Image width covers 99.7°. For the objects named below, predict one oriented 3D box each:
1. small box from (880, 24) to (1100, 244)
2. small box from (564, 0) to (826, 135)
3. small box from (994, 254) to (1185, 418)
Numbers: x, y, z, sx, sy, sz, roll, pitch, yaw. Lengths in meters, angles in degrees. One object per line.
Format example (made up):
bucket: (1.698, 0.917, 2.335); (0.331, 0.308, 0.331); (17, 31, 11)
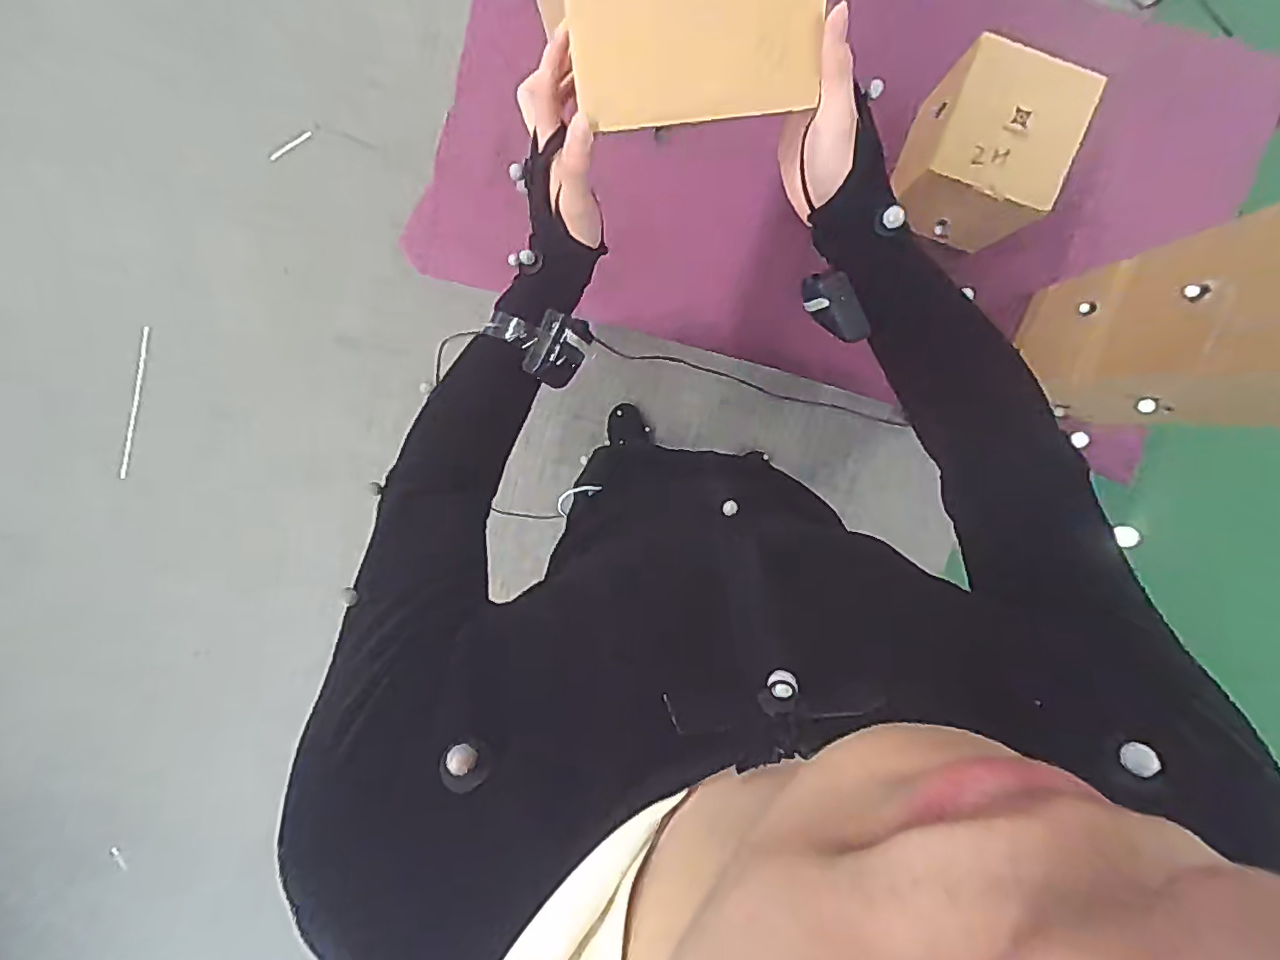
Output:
small box: (0.468, -0.464, 0.756); (0.168, 0.176, 0.179); (20, 97, -1)
small box: (0.034, -0.363, 0.389); (0.168, 0.176, 0.179); (-5, 123, 4)
small box: (0.671, -0.197, 0.783); (0.179, 0.176, 0.168); (20, 96, -1)
